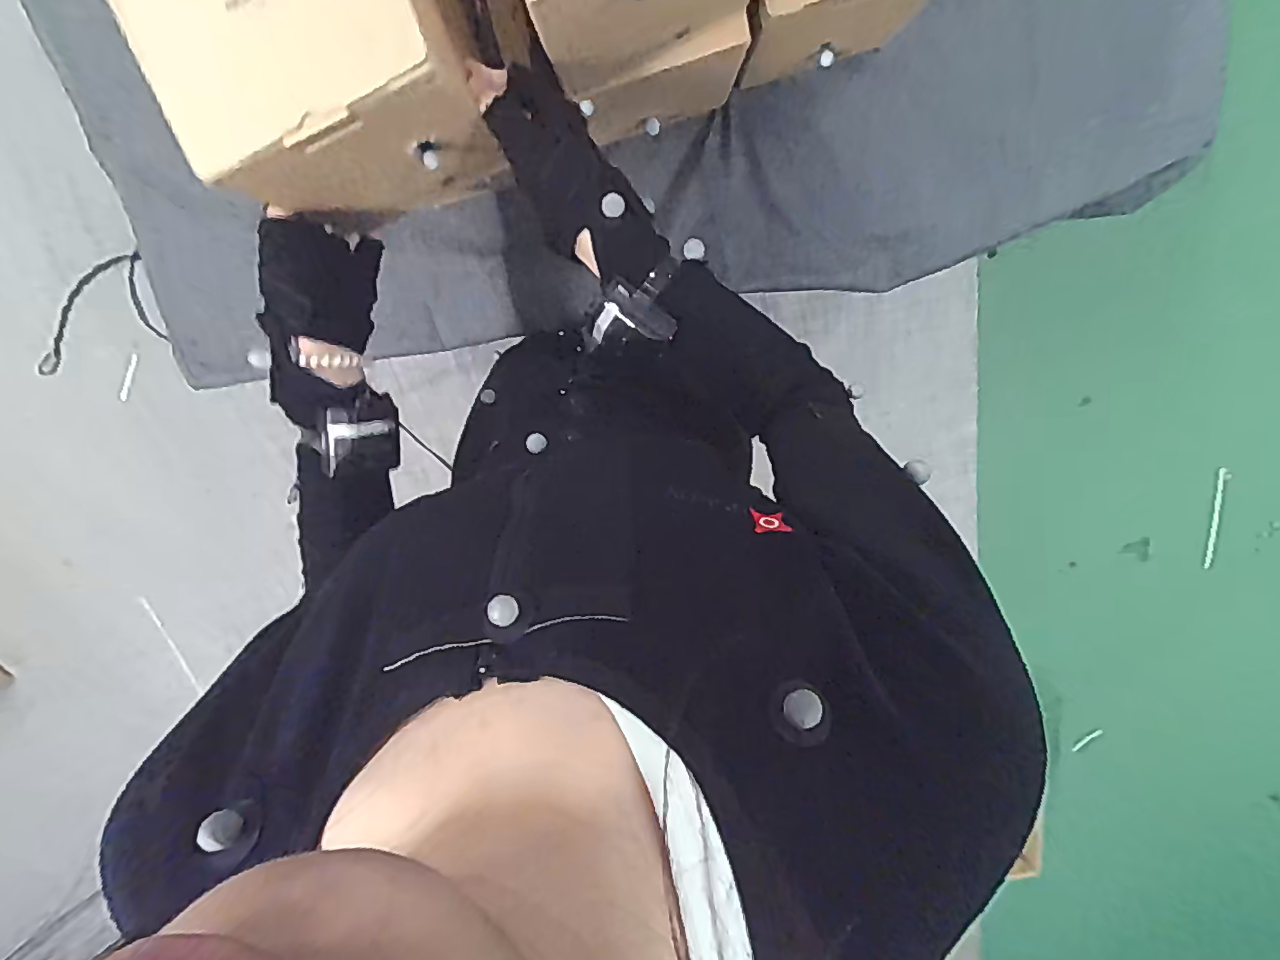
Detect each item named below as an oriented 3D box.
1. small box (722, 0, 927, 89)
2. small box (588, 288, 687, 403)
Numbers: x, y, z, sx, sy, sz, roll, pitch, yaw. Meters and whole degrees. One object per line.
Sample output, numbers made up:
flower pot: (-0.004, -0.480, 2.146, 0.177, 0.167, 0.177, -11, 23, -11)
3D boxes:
small box: (0.163, -0.503, 0.491, 0.168, 0.176, 0.179, -13, 108, 6)
small box: (0.000, -0.323, 1.325, 0.168, 0.176, 0.179, 38, 81, 16)
